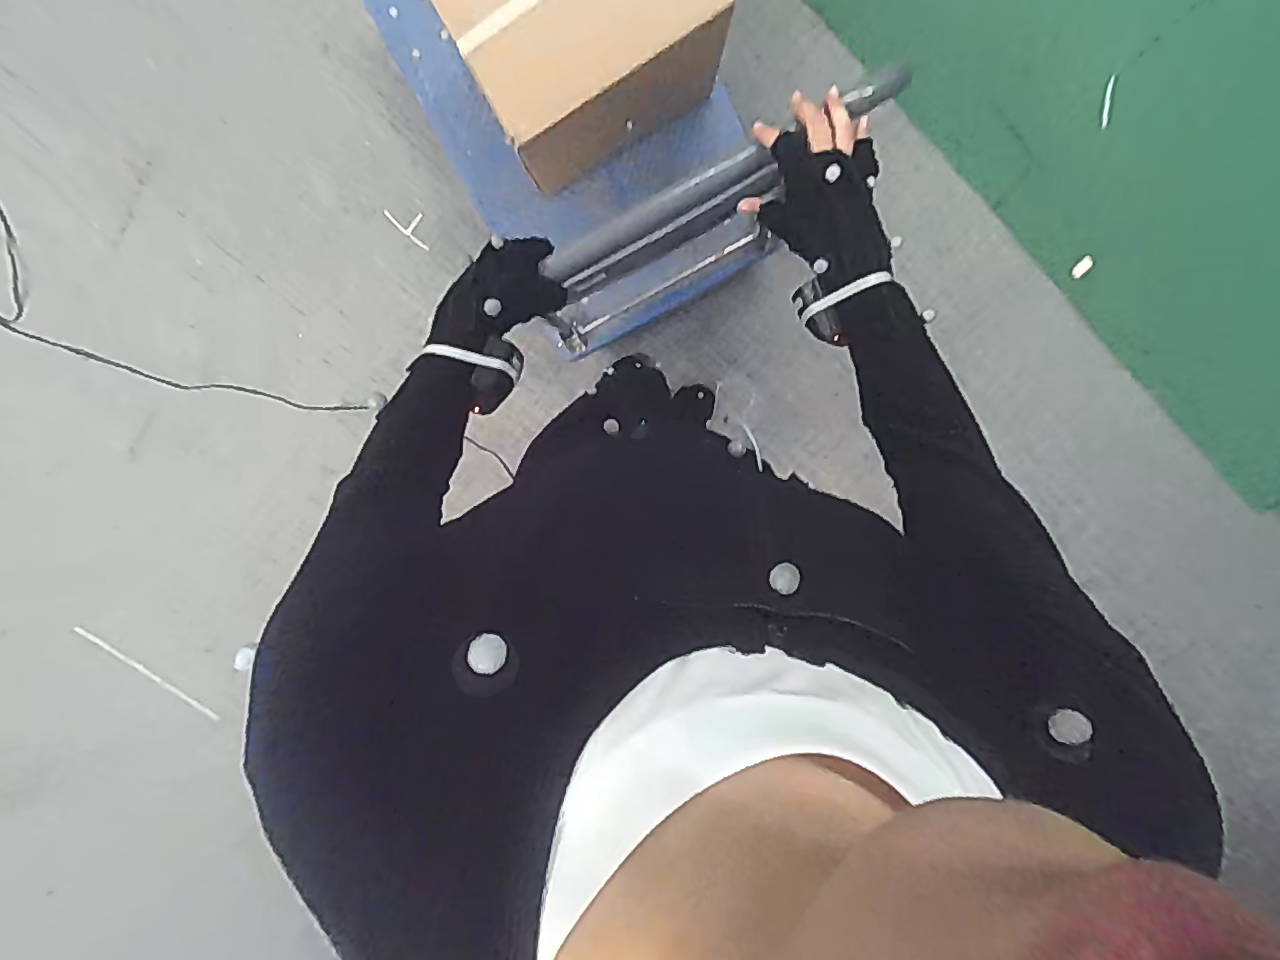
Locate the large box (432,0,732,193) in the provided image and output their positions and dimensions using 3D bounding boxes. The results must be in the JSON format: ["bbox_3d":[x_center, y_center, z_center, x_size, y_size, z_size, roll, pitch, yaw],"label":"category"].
[{"bbox_3d":[-0.098,-0.804,0.975,0.408,0.320,0.320,-30,102,8],"label":"large box"}]
